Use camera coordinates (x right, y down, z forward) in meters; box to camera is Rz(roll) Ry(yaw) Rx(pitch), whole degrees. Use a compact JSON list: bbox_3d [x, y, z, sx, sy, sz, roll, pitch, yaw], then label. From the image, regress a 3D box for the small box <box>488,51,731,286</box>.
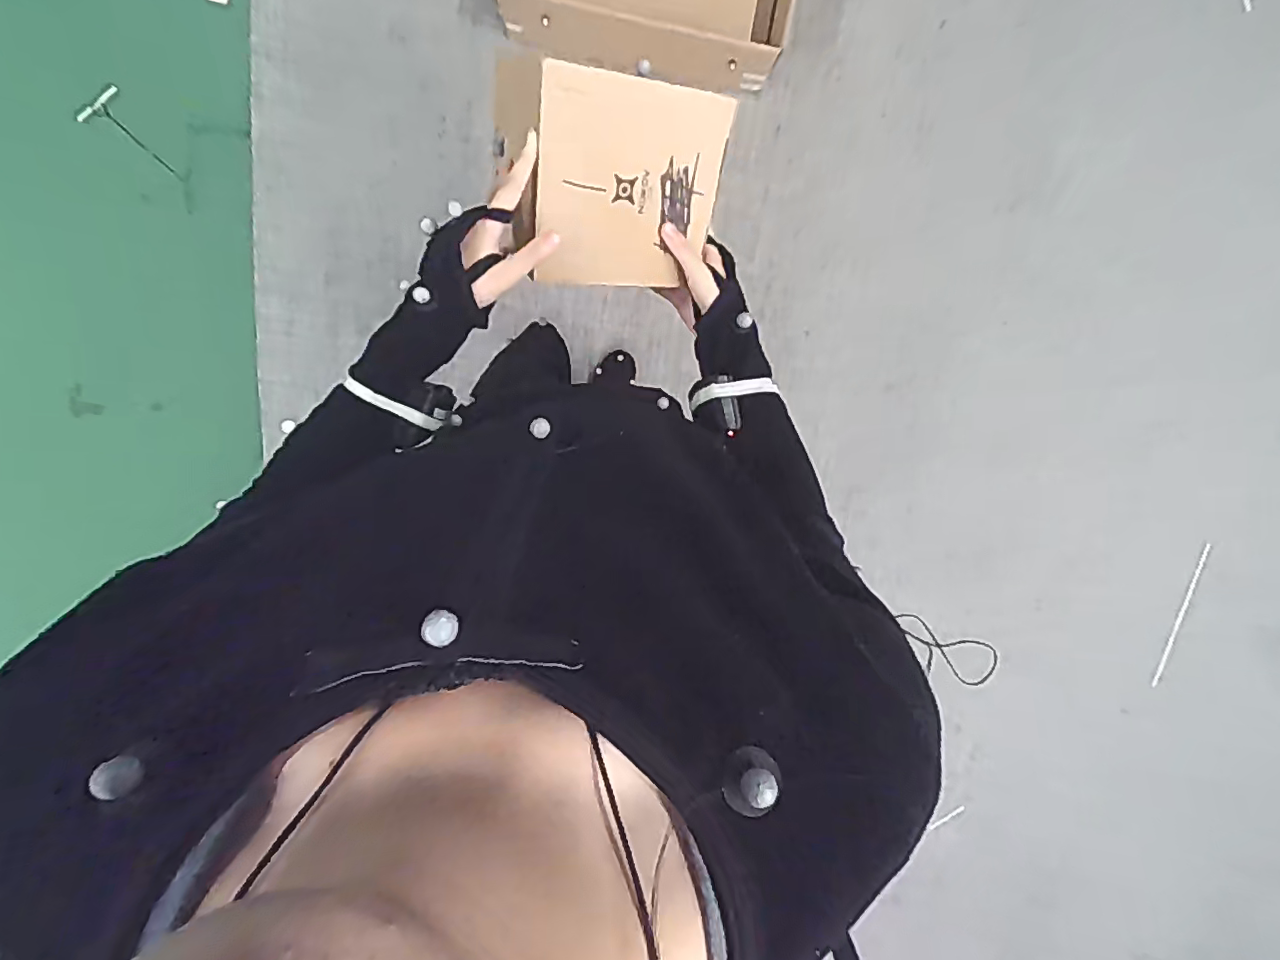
[{"bbox_3d":[-0.044,-0.304,0.534,0.179,0.176,0.168,-6,129,-24],"label":"small box"}]
